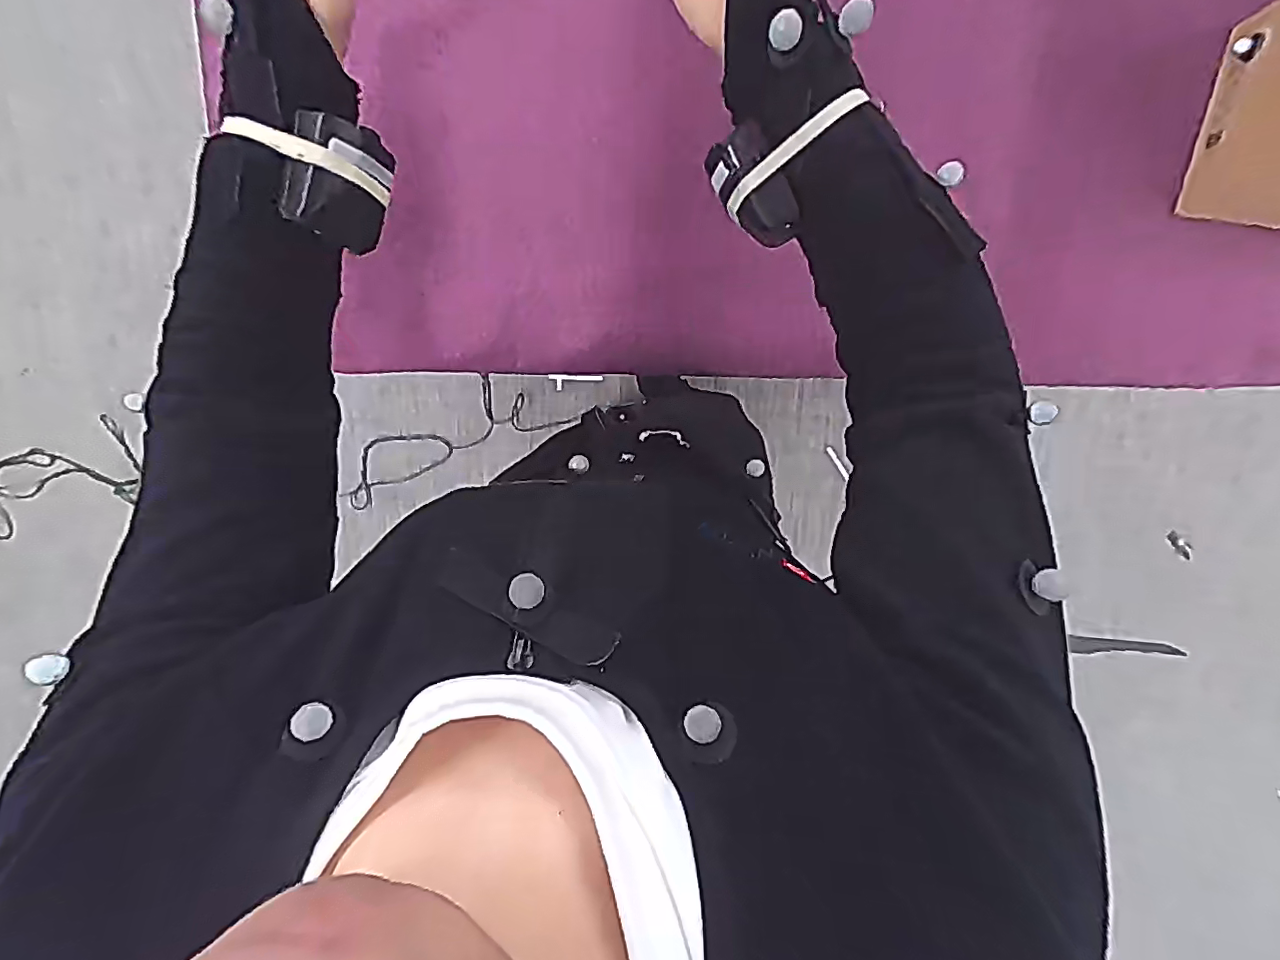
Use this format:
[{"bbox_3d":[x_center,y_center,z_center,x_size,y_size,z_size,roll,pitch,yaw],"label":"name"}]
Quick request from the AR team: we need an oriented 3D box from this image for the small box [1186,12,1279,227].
[{"bbox_3d":[0.616,-0.310,0.432,0.179,0.176,0.168,9,102,2],"label":"small box"}]
